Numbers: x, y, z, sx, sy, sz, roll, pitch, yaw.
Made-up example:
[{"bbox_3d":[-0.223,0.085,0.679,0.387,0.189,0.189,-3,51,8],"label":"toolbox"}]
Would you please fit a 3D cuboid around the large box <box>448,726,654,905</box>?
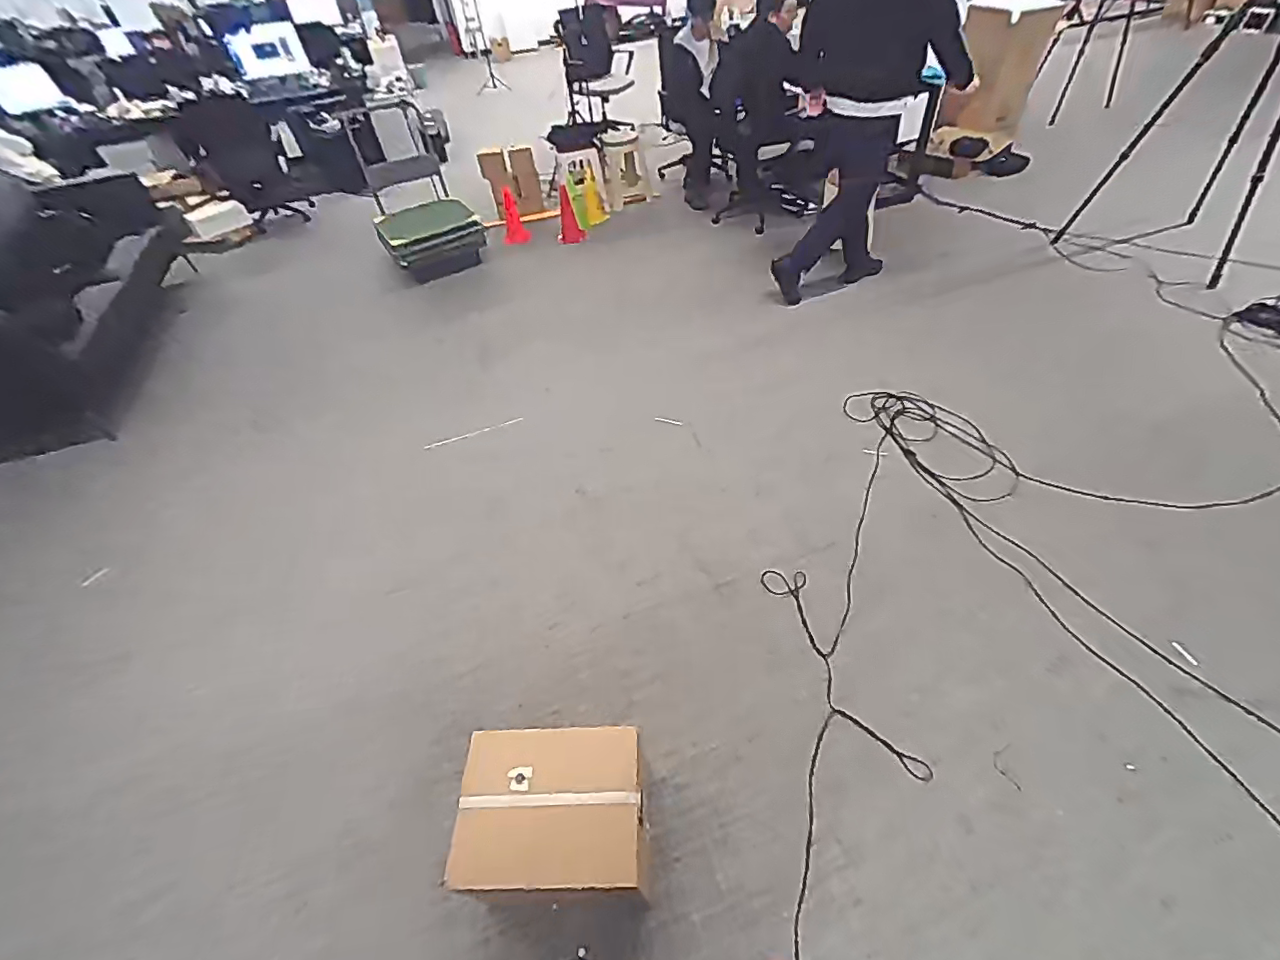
[{"bbox_3d":[-0.183,0.813,1.302,0.408,0.320,0.320,-5,46,5],"label":"large box"}]
